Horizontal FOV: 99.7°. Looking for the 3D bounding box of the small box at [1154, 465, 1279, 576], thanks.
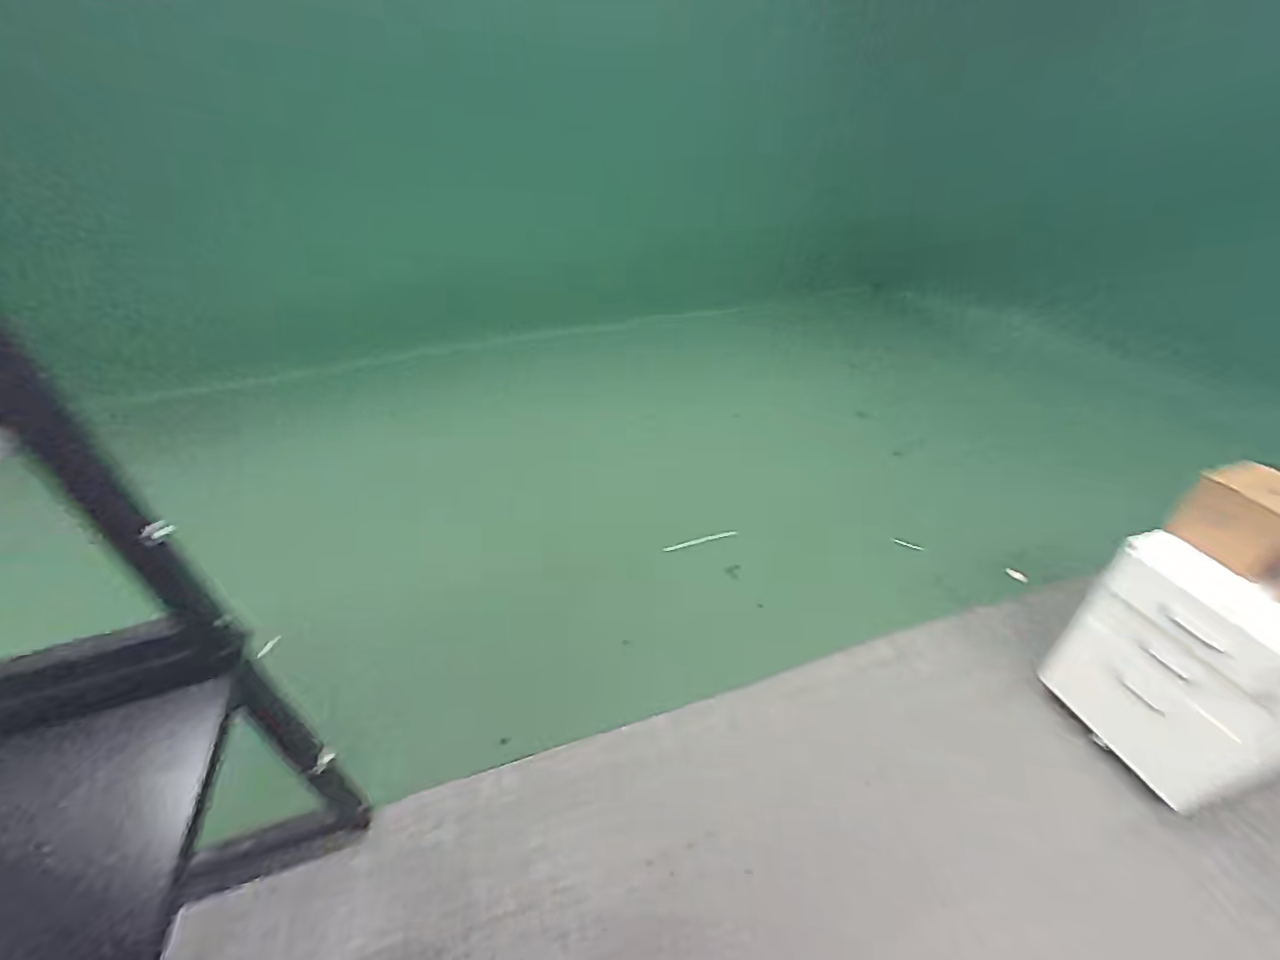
[{"bbox_3d":[1.359,0.091,1.243,0.168,0.176,0.179,-12,38,-13],"label":"small box"}]
